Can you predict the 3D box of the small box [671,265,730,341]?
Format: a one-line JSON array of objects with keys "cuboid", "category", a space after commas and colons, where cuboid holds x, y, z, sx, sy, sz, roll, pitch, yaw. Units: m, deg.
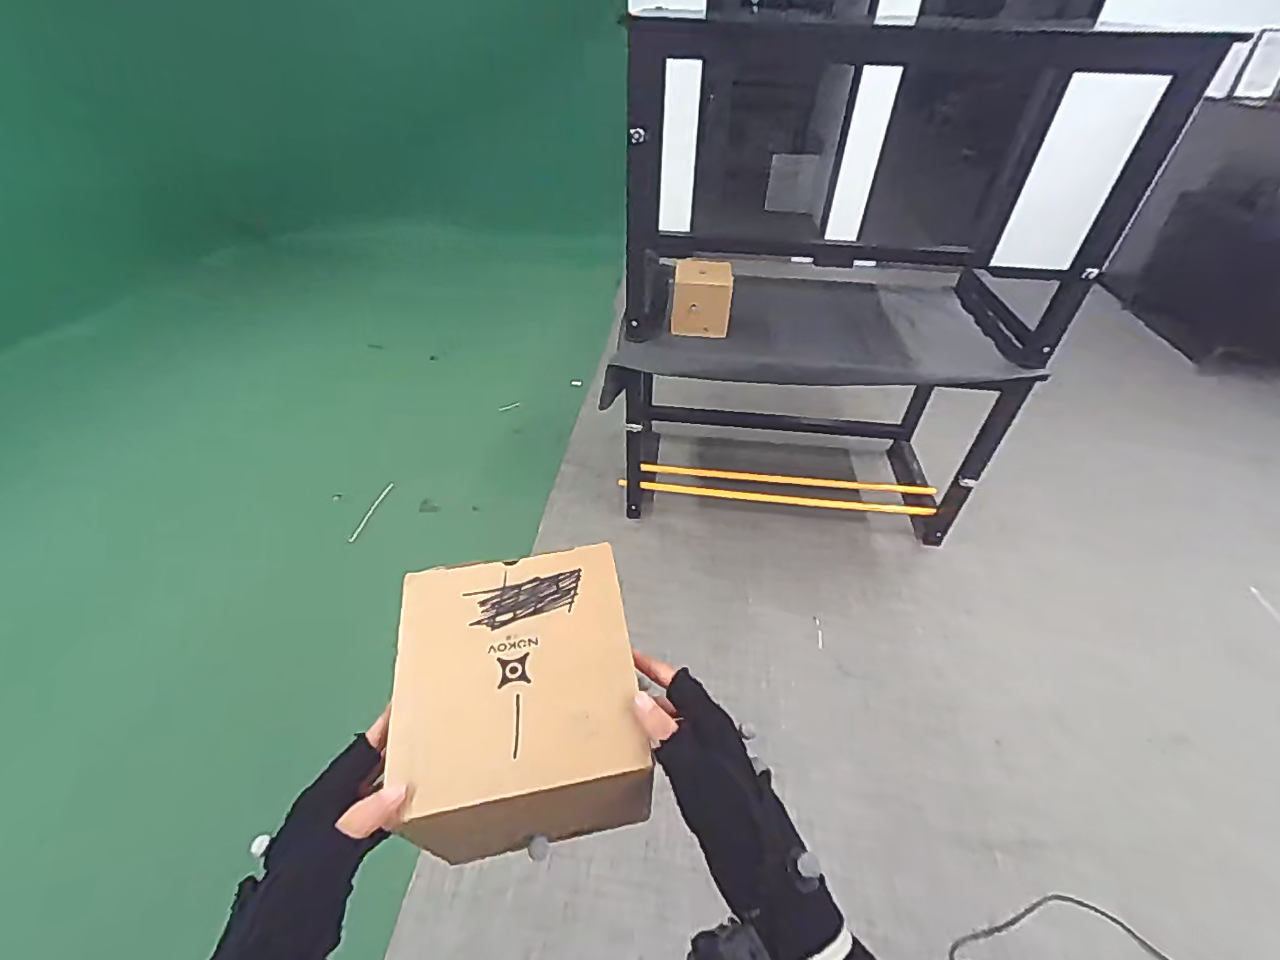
[{"cuboid": [0.182, -0.537, 1.643, 0.168, 0.176, 0.179, 4, 41, 3], "category": "small box"}]
